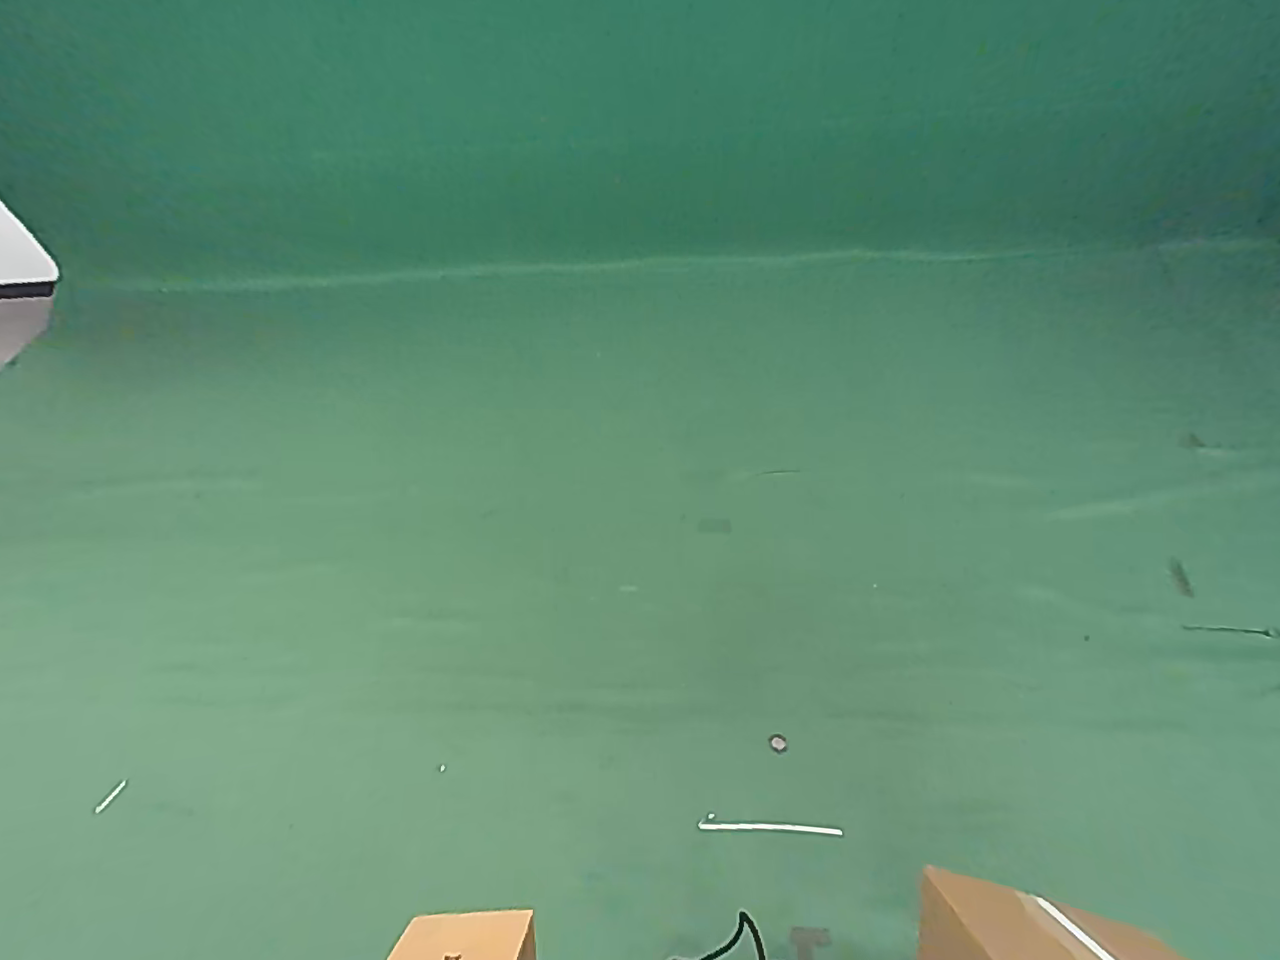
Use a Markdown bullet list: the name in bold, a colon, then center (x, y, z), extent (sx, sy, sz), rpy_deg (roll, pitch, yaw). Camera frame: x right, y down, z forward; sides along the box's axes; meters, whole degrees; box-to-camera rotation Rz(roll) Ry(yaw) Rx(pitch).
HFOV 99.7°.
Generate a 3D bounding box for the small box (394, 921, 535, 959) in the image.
- **small box**: center (-0.221, 0.670, 0.633), extent (0.168, 0.179, 0.176), rpy_deg (-5, 85, 2)
